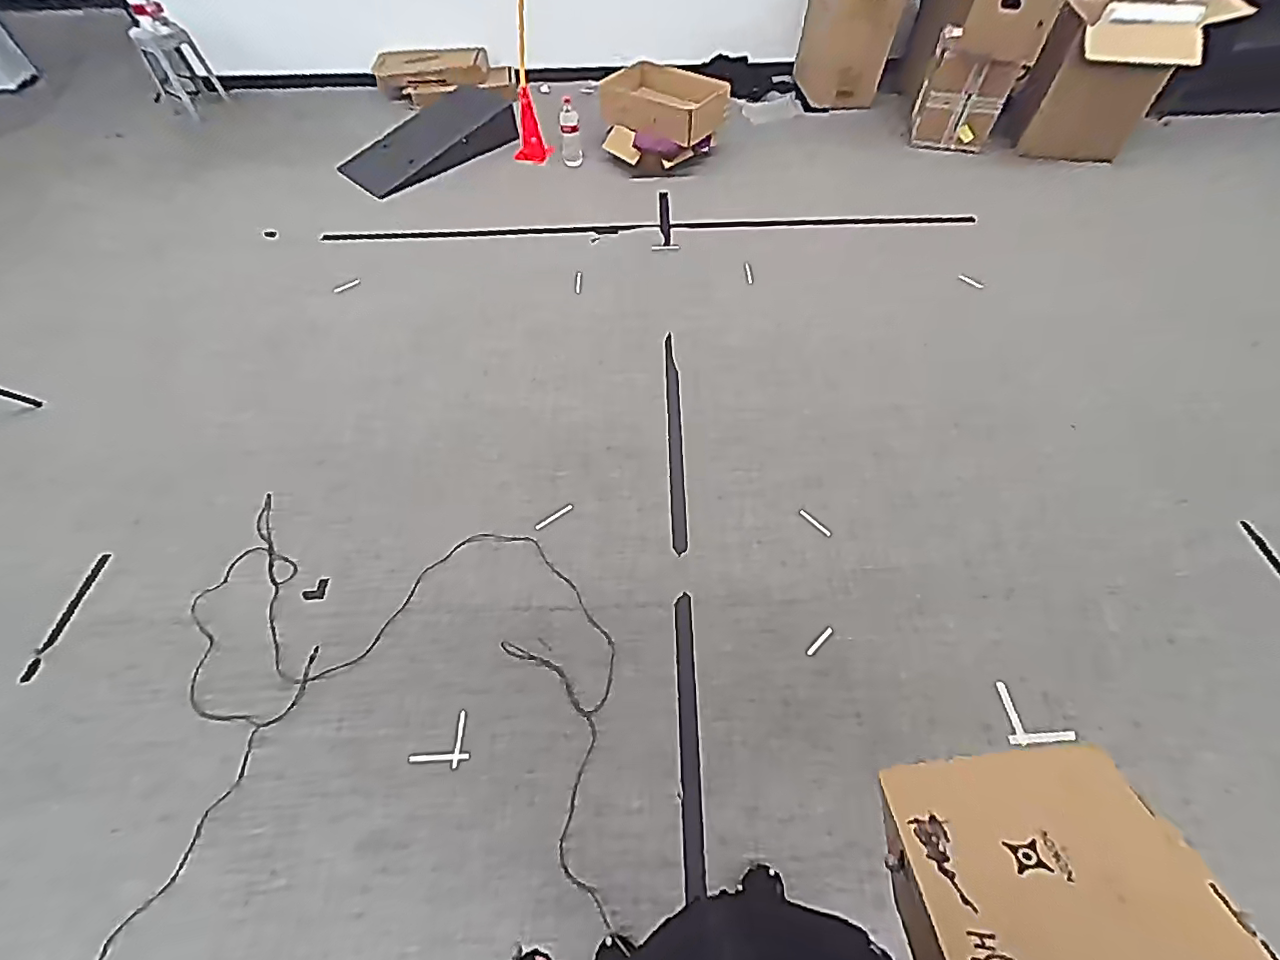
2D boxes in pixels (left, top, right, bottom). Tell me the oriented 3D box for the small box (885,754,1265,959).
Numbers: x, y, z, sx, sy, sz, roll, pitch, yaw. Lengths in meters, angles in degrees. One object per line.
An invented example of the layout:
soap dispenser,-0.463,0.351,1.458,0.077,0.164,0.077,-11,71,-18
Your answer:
small box,0.308,0.346,0.417,0.179,0.176,0.168,-11,20,10
